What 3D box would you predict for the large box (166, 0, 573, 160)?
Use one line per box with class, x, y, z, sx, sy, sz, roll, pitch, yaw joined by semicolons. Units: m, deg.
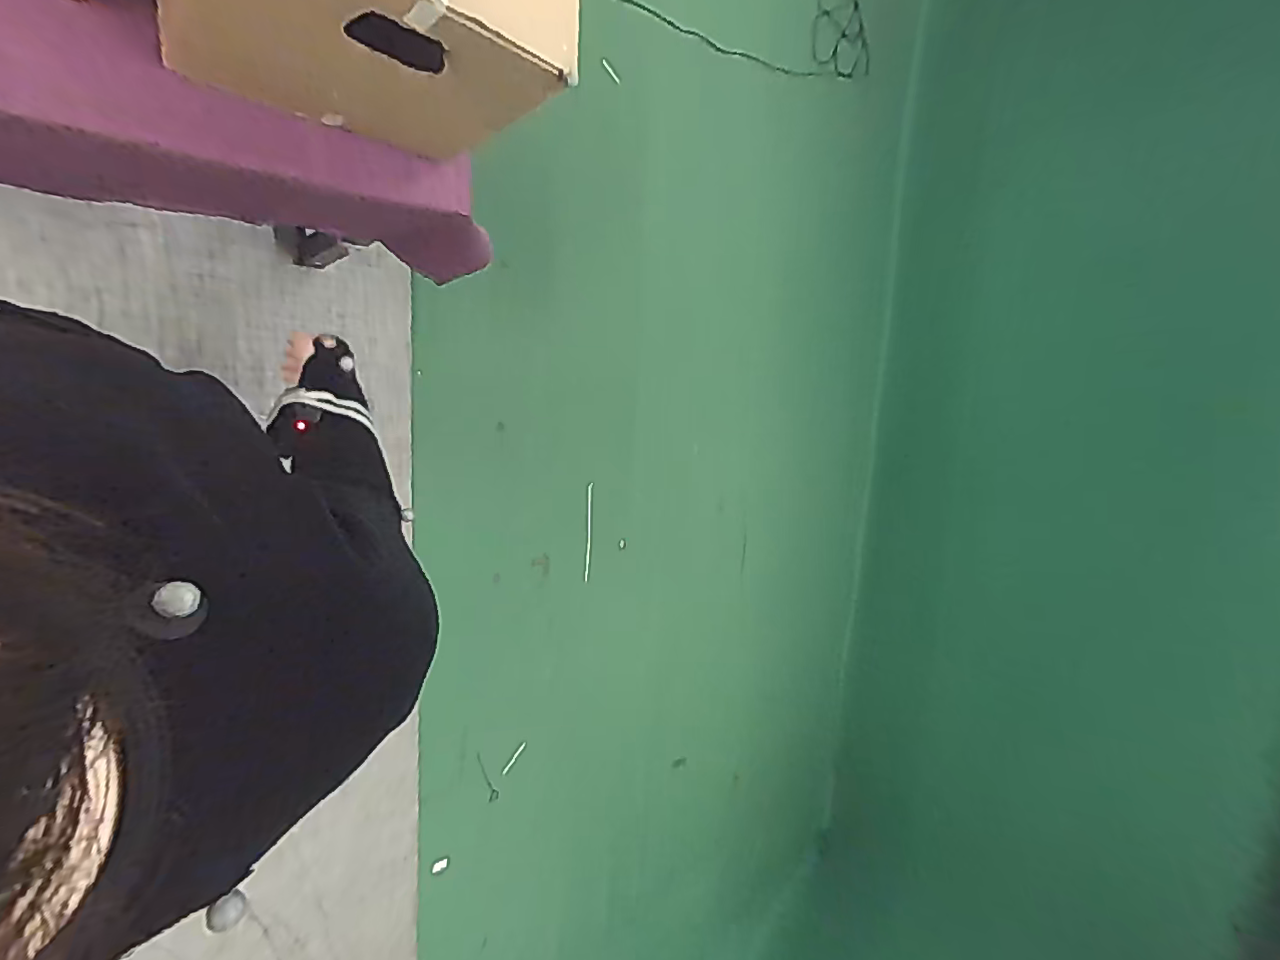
large box;-0.280;-0.623;0.549;0.320;0.320;0.408;-7;103;-44
